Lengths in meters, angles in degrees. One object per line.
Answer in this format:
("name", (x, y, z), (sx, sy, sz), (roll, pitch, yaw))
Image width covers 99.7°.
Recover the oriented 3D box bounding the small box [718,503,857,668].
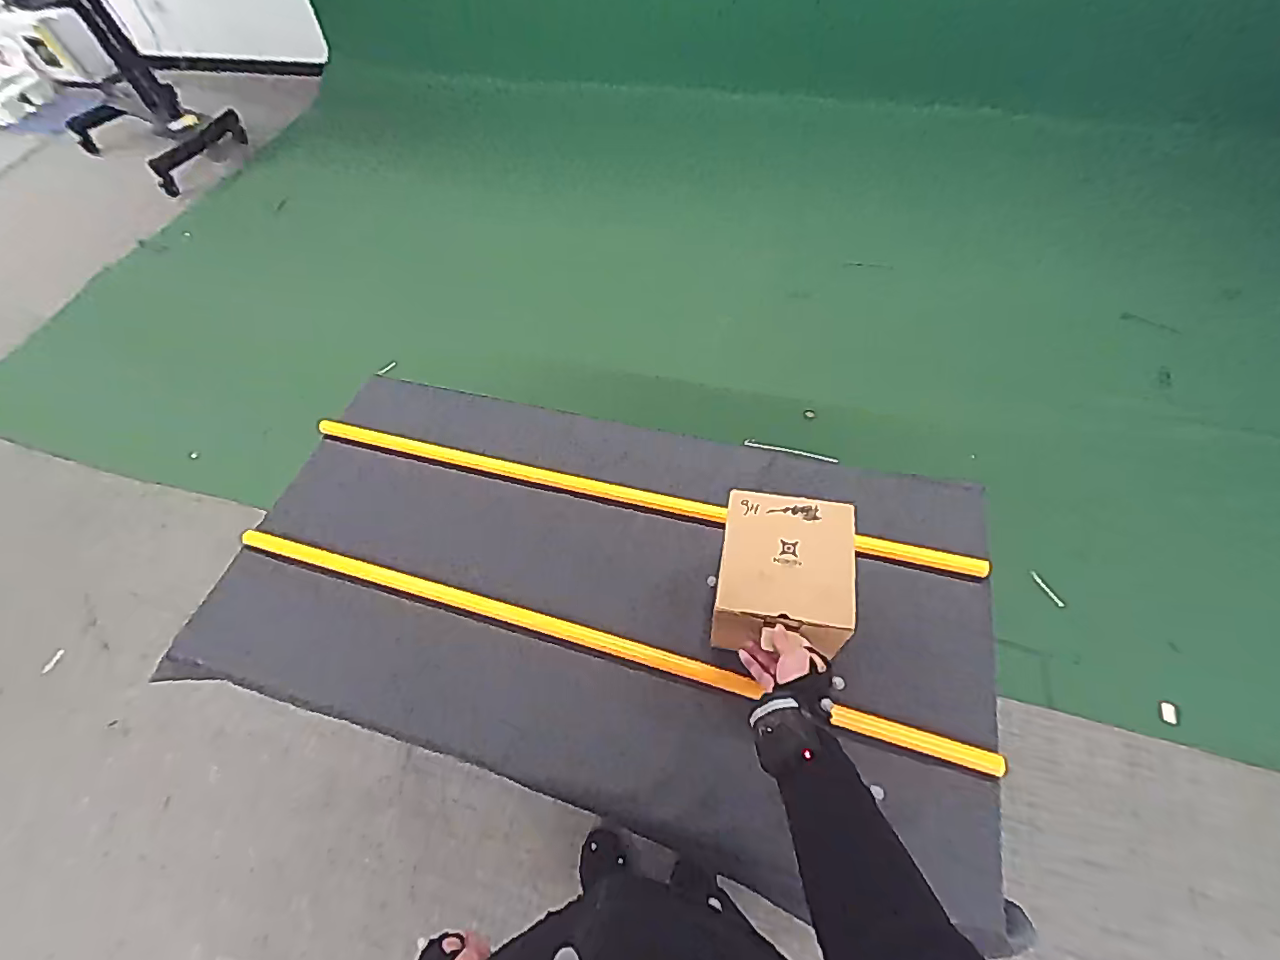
("small box", (0.199, 0.151, 0.757), (0.168, 0.176, 0.179), (3, 57, 10))
